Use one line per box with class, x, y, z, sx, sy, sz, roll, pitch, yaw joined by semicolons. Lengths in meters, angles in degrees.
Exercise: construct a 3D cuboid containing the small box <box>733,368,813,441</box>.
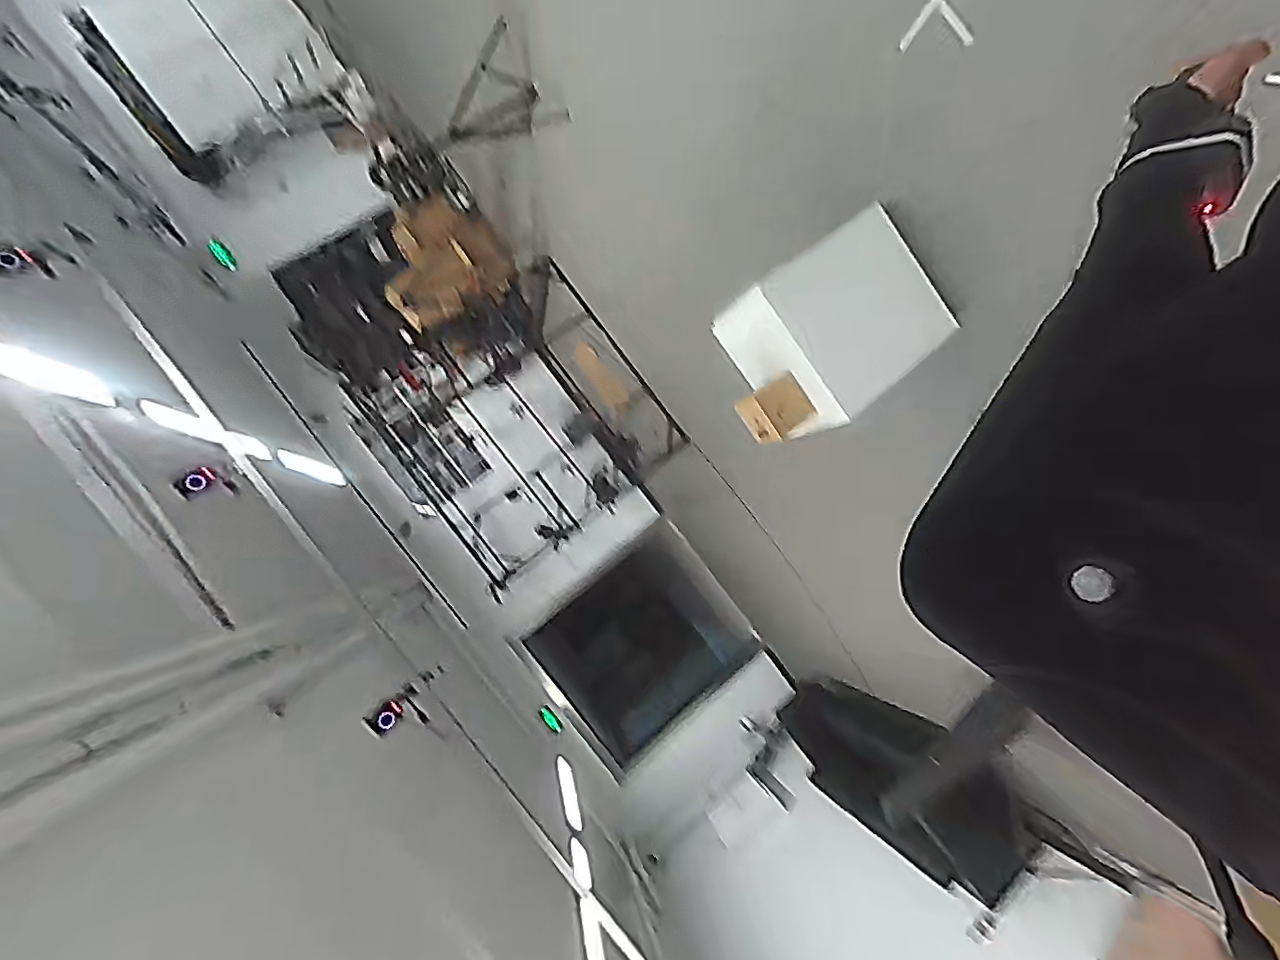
small box;0.461;-0.259;1.863;0.179;0.176;0.168;55;167;-7
